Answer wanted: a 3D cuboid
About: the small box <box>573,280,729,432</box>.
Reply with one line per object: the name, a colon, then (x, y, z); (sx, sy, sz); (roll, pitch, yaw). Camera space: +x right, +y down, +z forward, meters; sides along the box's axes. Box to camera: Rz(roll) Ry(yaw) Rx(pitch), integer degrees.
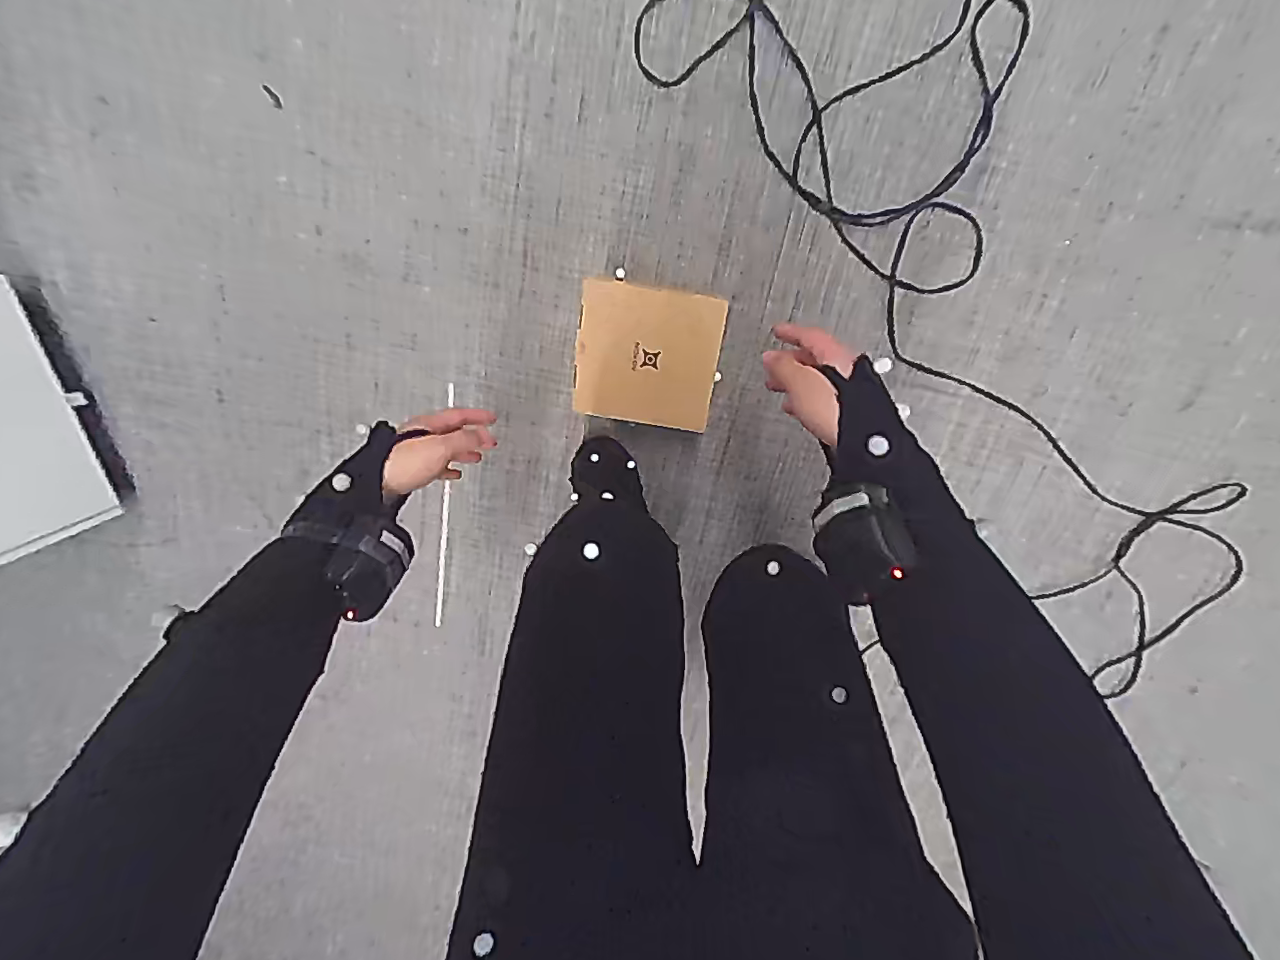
small box: (0.016, -0.179, 0.745); (0.179, 0.176, 0.168); (9, 112, 2)
